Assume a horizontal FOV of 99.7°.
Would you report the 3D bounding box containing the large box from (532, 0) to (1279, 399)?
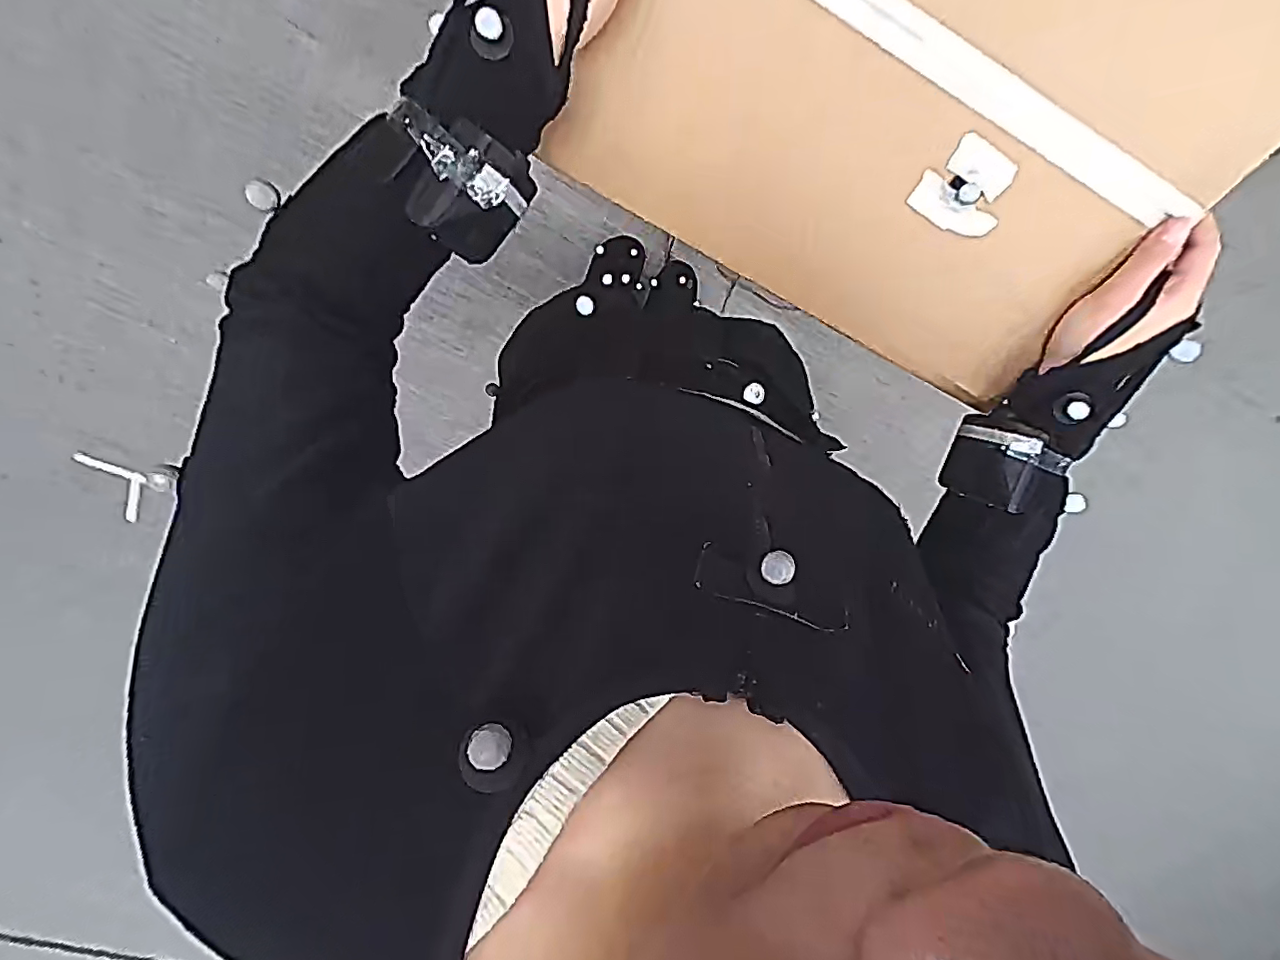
[{"bbox_3d":[0.178,-0.336,0.438,0.408,0.320,0.320,24,128,-11],"label":"large box"}]
